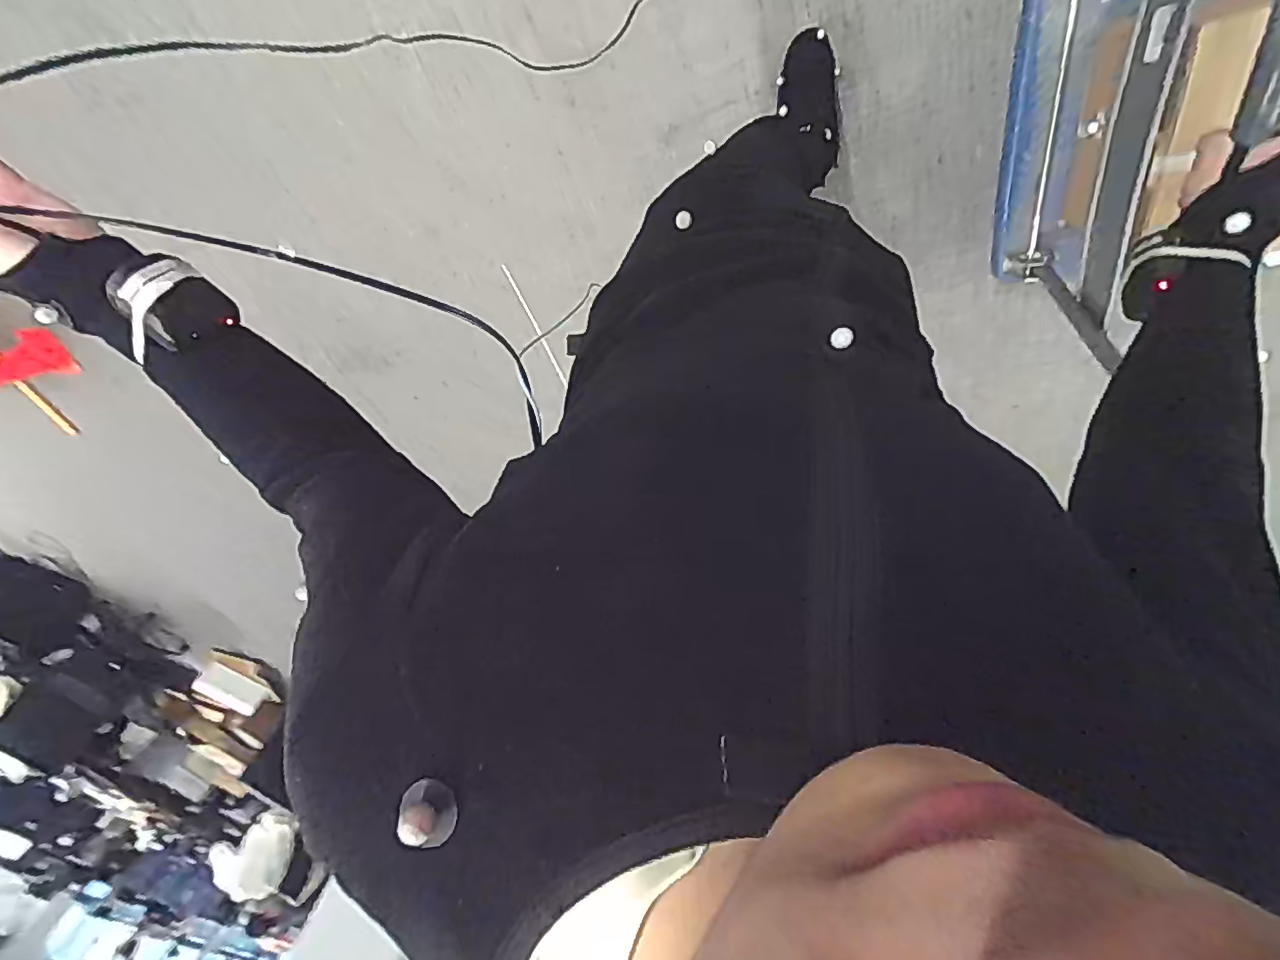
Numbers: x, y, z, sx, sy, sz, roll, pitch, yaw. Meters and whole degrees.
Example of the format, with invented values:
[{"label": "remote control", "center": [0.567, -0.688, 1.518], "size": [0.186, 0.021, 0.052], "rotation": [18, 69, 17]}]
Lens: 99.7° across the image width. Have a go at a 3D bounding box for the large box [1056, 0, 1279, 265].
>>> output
[{"label": "large box", "center": [0.943, -0.568, 0.824], "size": [0.408, 0.320, 0.320], "rotation": [-5, 128, 19]}]
